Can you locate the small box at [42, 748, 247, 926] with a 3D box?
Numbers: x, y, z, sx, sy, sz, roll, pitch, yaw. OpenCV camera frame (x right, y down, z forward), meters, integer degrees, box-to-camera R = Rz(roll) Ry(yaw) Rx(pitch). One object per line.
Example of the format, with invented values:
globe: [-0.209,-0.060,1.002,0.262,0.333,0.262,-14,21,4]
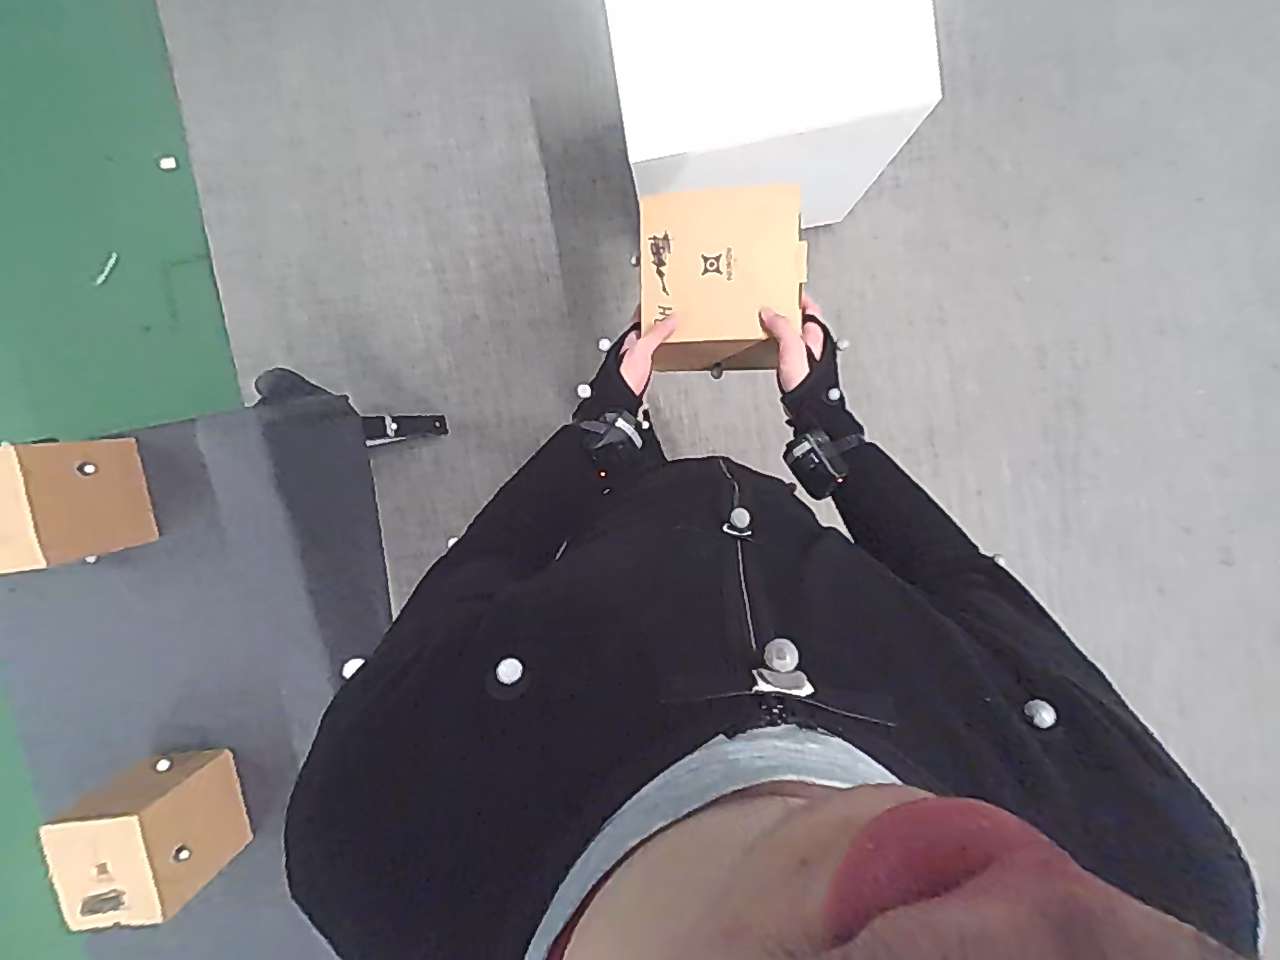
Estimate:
small box: [-0.792,0.574,0.885,0.168,0.176,0.179,-9,95,6]

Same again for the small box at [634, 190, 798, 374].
small box: [0.087,-0.230,0.663,0.179,0.176,0.168,0,89,5]

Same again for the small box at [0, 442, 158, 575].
small box: [-0.904,0.038,0.829,0.168,0.176,0.179,-8,98,7]
